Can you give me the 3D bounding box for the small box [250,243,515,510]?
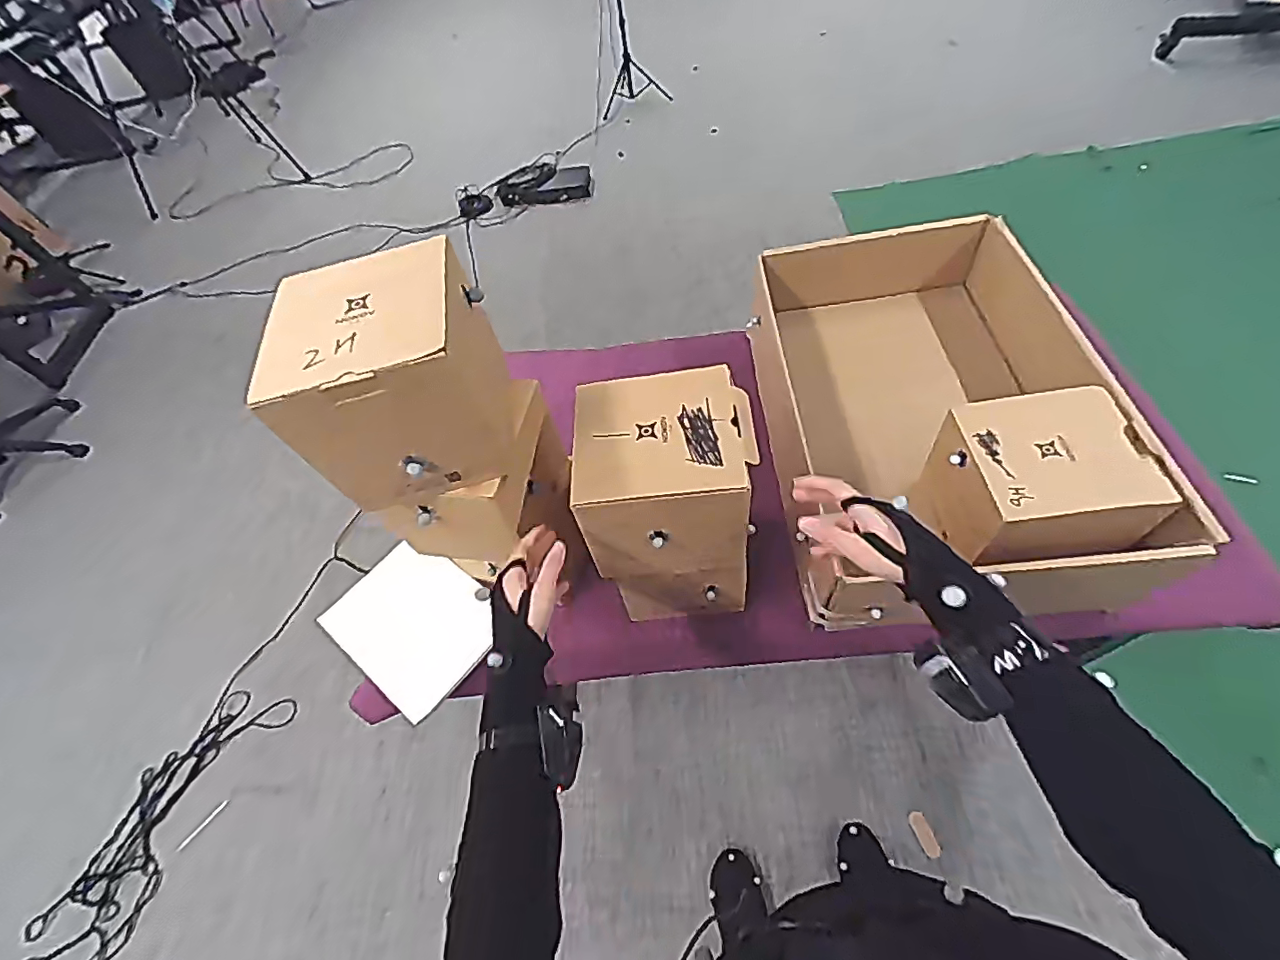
[{"bbox_3d":[-0.233,-0.098,0.539,0.168,0.176,0.179,-15,55,1],"label":"small box"}]
